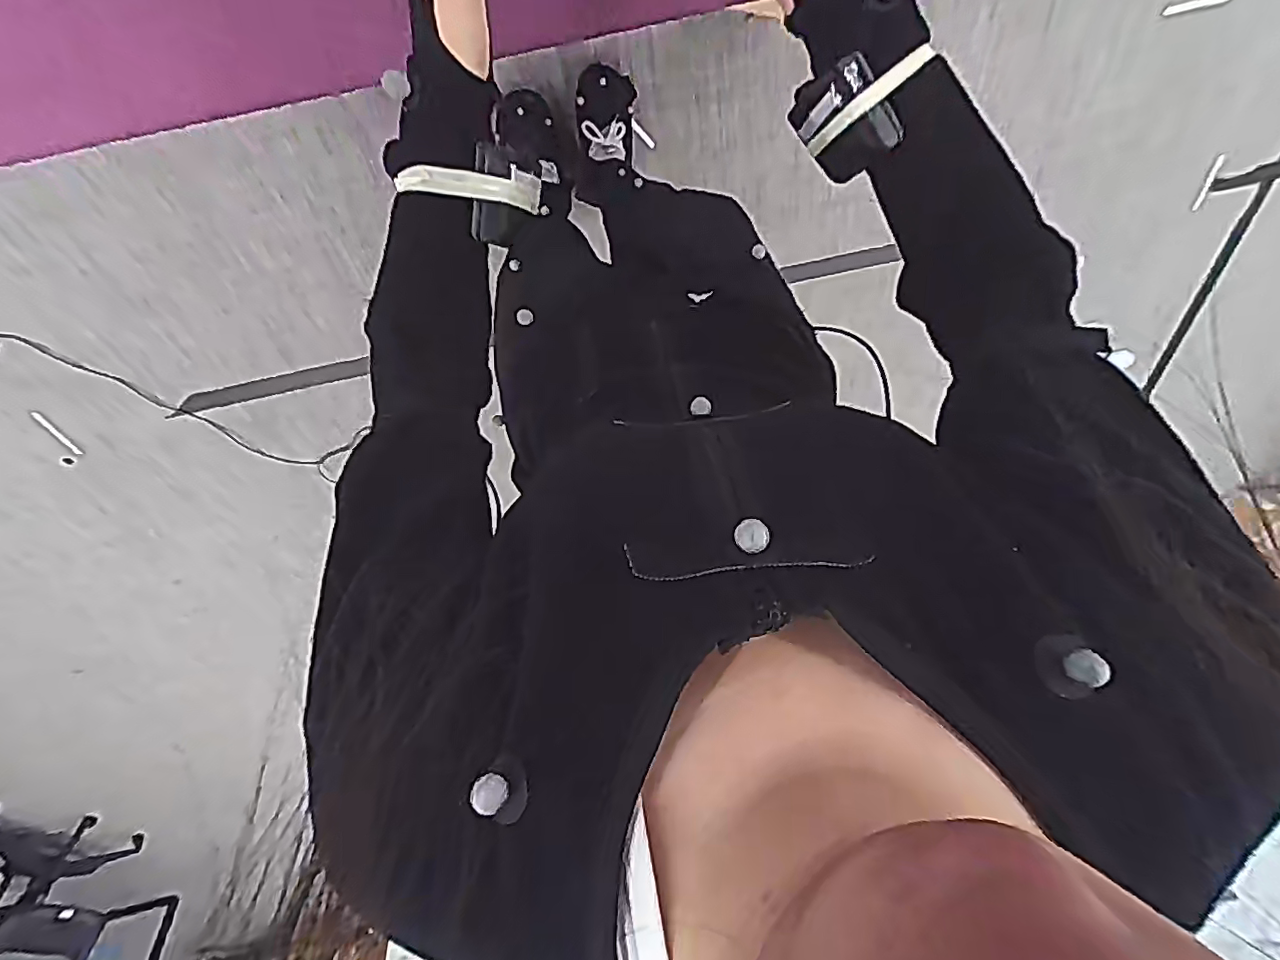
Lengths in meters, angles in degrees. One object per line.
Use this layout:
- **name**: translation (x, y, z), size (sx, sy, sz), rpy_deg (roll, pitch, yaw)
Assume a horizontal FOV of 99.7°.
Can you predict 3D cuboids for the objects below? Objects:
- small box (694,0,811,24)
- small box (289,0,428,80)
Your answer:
- **small box**: translation (0.207, -0.924, 0.946), size (0.179, 0.176, 0.168), rpy_deg (0, 132, -12)
- **small box**: translation (-0.470, -0.796, 0.900), size (0.168, 0.176, 0.179), rpy_deg (-13, 132, -2)
